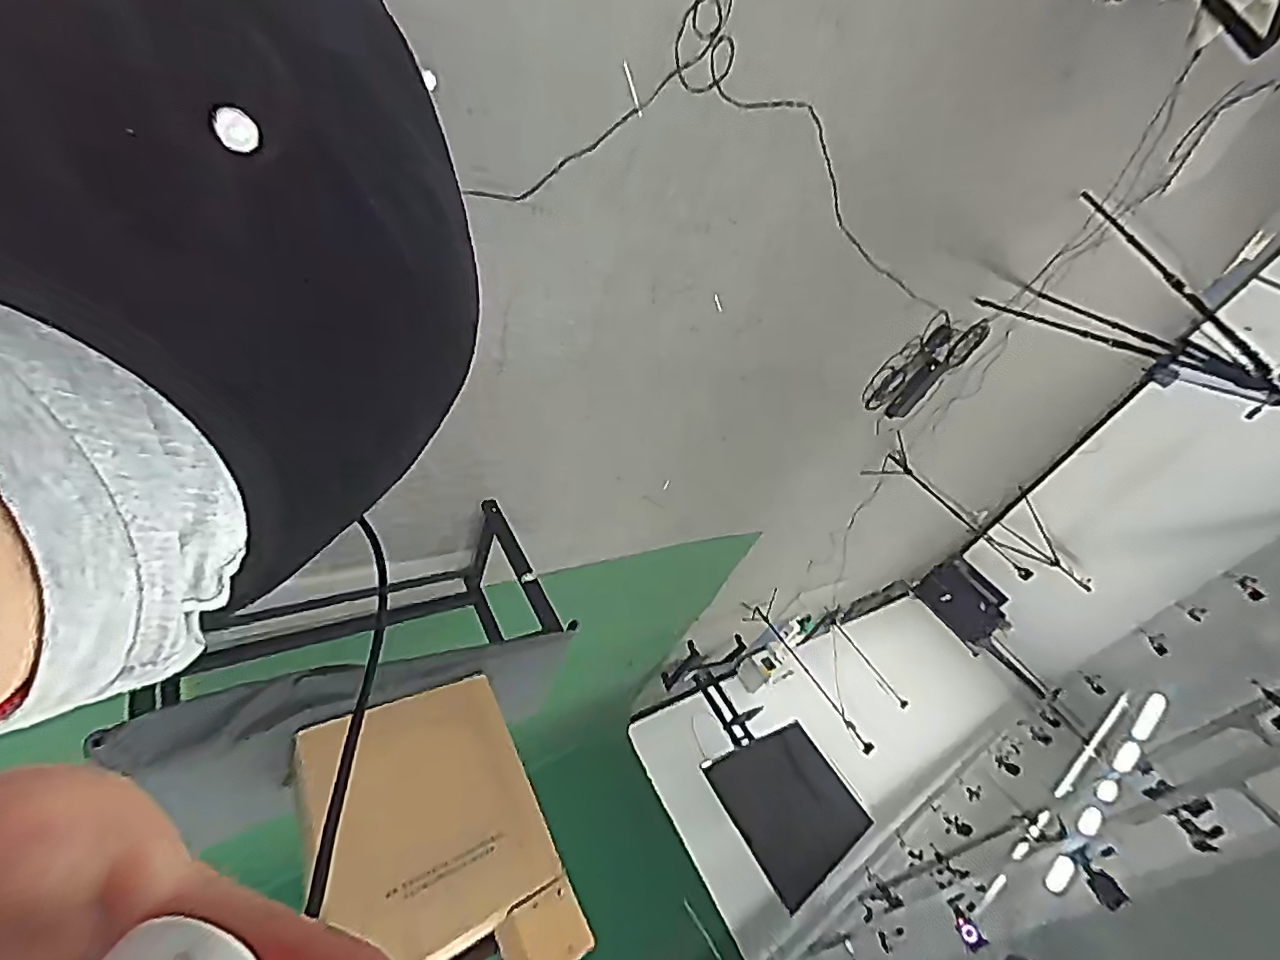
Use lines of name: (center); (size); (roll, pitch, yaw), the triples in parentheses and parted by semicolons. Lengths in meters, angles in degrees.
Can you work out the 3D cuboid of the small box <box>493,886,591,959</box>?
small box: (-0.258, 1.191, 1.389); (0.168, 0.176, 0.179); (-5, 136, -41)
